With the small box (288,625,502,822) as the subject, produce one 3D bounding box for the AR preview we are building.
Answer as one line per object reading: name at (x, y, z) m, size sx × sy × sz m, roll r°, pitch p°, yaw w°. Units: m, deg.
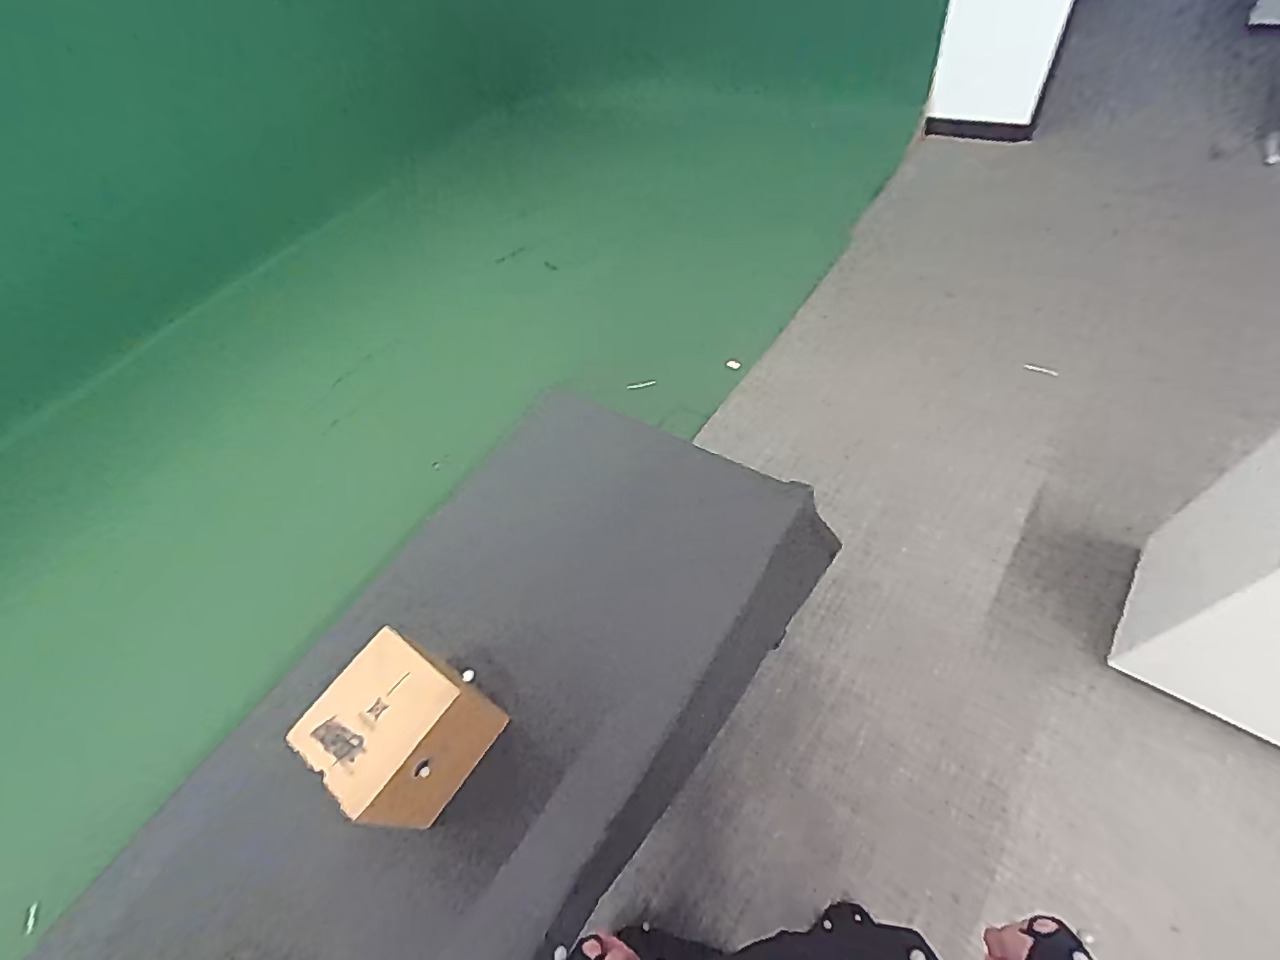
small box at (-0.325, 0.342, 0.751) m, size 0.168 × 0.176 × 0.179 m, roll 26°, pitch 65°, yaw 28°
